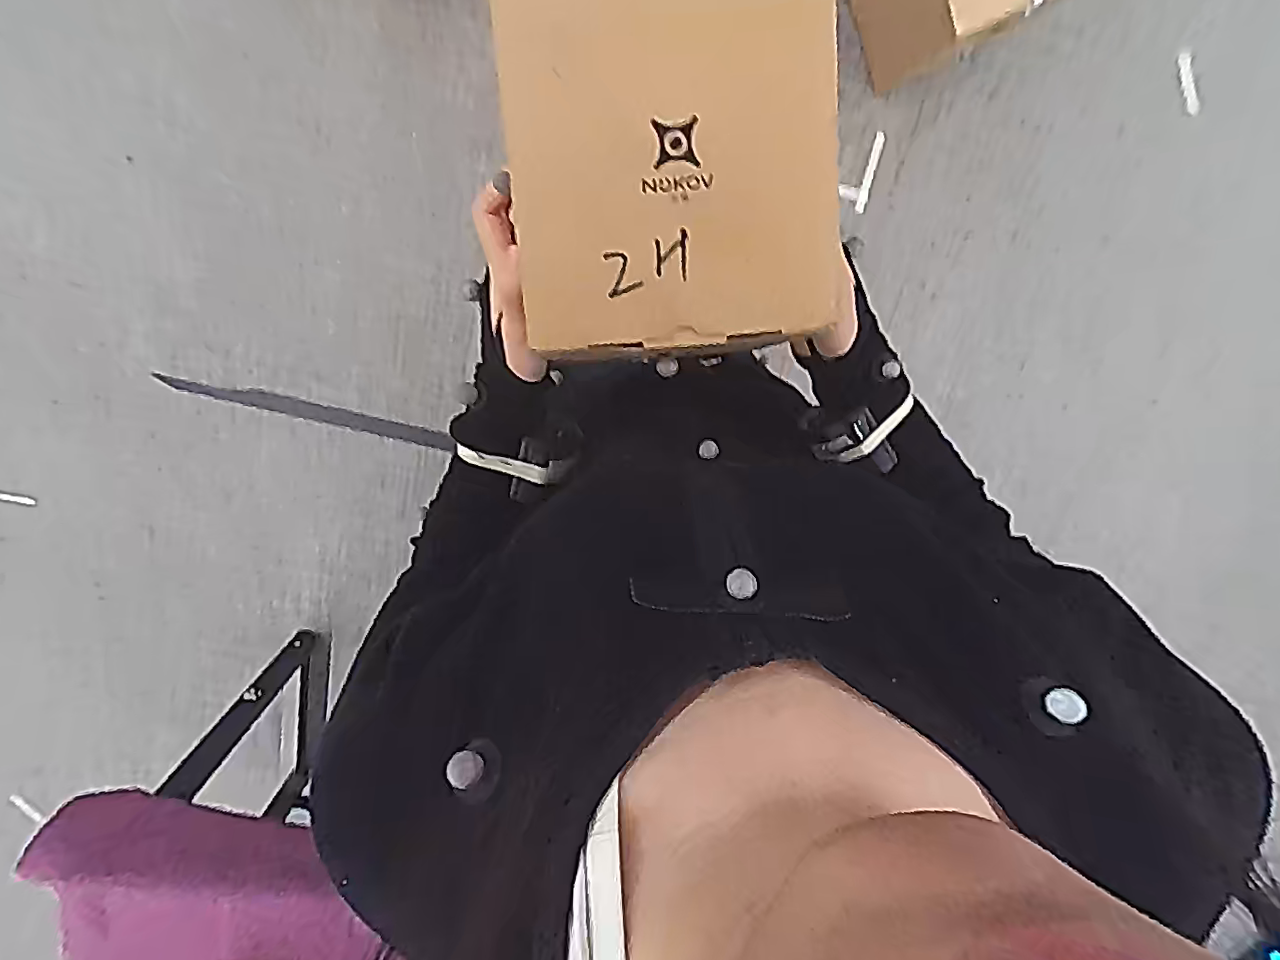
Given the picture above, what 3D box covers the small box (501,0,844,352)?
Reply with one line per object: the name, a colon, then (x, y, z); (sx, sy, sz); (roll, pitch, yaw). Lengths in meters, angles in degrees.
small box: (0.015, -0.180, 0.344); (0.168, 0.176, 0.179); (-4, 101, -1)
